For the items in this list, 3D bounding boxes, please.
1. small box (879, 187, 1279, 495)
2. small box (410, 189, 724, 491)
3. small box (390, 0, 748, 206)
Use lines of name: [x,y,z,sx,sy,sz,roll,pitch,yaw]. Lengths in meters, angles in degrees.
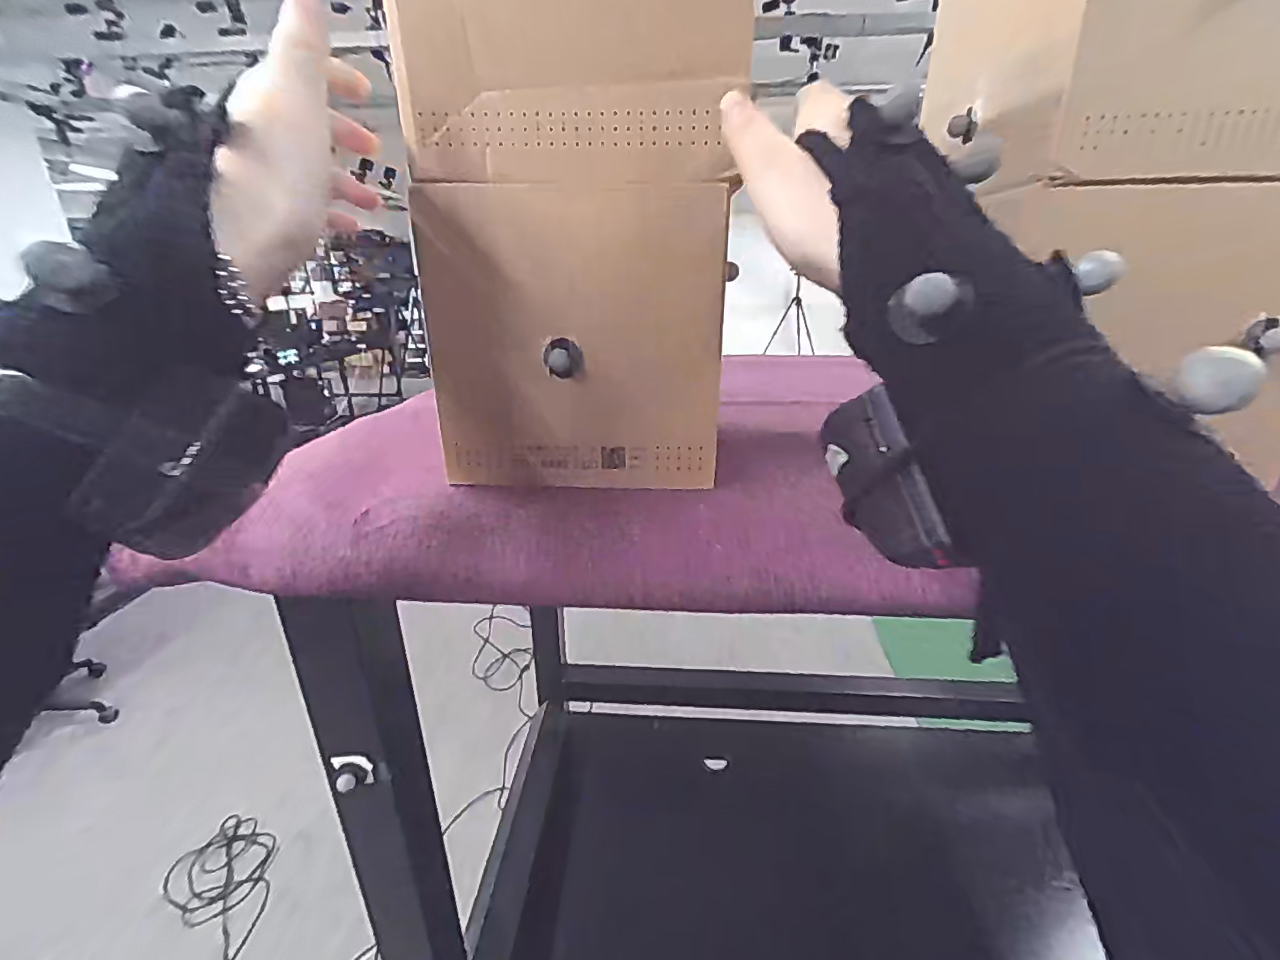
small box: [0.288,-0.094,0.369,0.179,0.176,0.168,0,21,3]
small box: [-0.034,-0.099,0.379,0.168,0.176,0.179,2,22,2]
small box: [-0.032,-0.251,0.318,0.179,0.176,0.168,1,23,1]
